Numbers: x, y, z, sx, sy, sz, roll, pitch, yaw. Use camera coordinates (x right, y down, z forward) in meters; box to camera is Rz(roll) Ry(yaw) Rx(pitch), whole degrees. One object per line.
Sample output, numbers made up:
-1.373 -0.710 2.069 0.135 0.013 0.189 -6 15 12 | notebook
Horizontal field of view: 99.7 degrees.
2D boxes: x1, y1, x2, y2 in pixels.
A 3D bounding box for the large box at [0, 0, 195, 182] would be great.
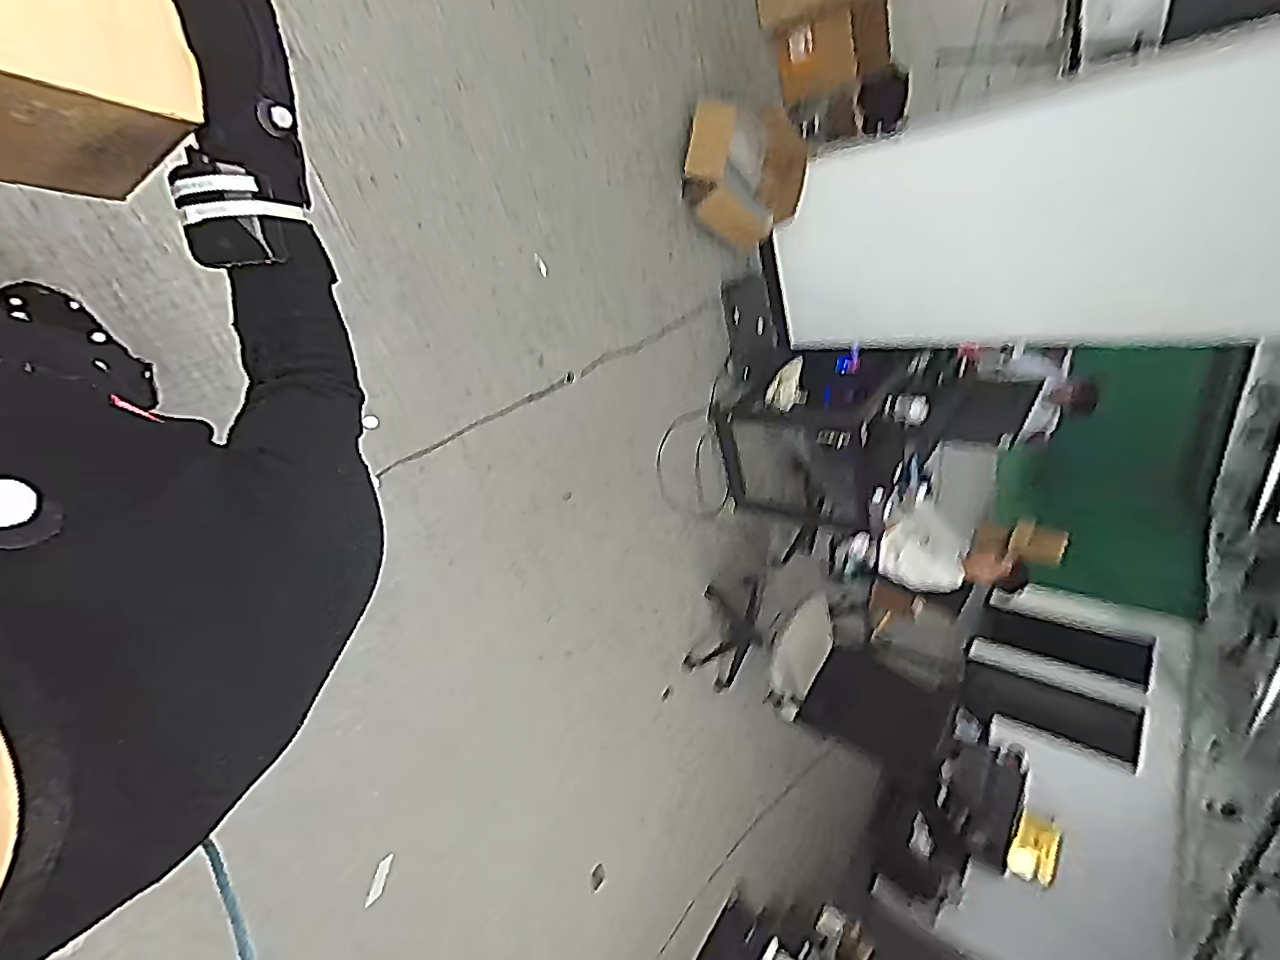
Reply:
-0.545 -0.389 0.275 0.408 0.320 0.320 -16 111 -49 | large box
